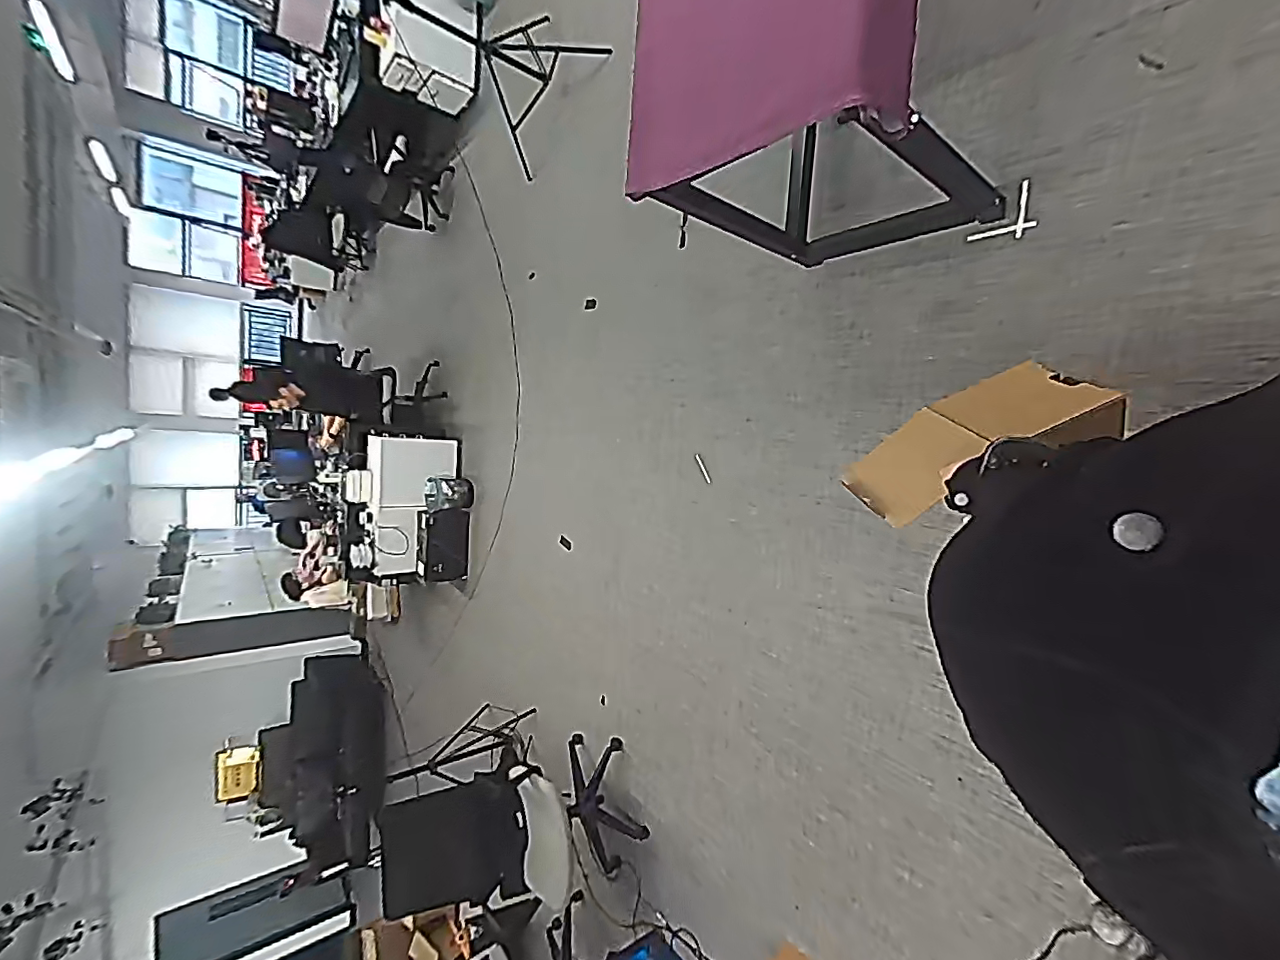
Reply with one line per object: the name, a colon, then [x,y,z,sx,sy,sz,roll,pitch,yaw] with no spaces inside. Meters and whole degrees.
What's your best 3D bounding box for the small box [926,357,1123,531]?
small box: [0.570,-0.053,0.811,0.168,0.179,0.176,-110,-6,-60]
